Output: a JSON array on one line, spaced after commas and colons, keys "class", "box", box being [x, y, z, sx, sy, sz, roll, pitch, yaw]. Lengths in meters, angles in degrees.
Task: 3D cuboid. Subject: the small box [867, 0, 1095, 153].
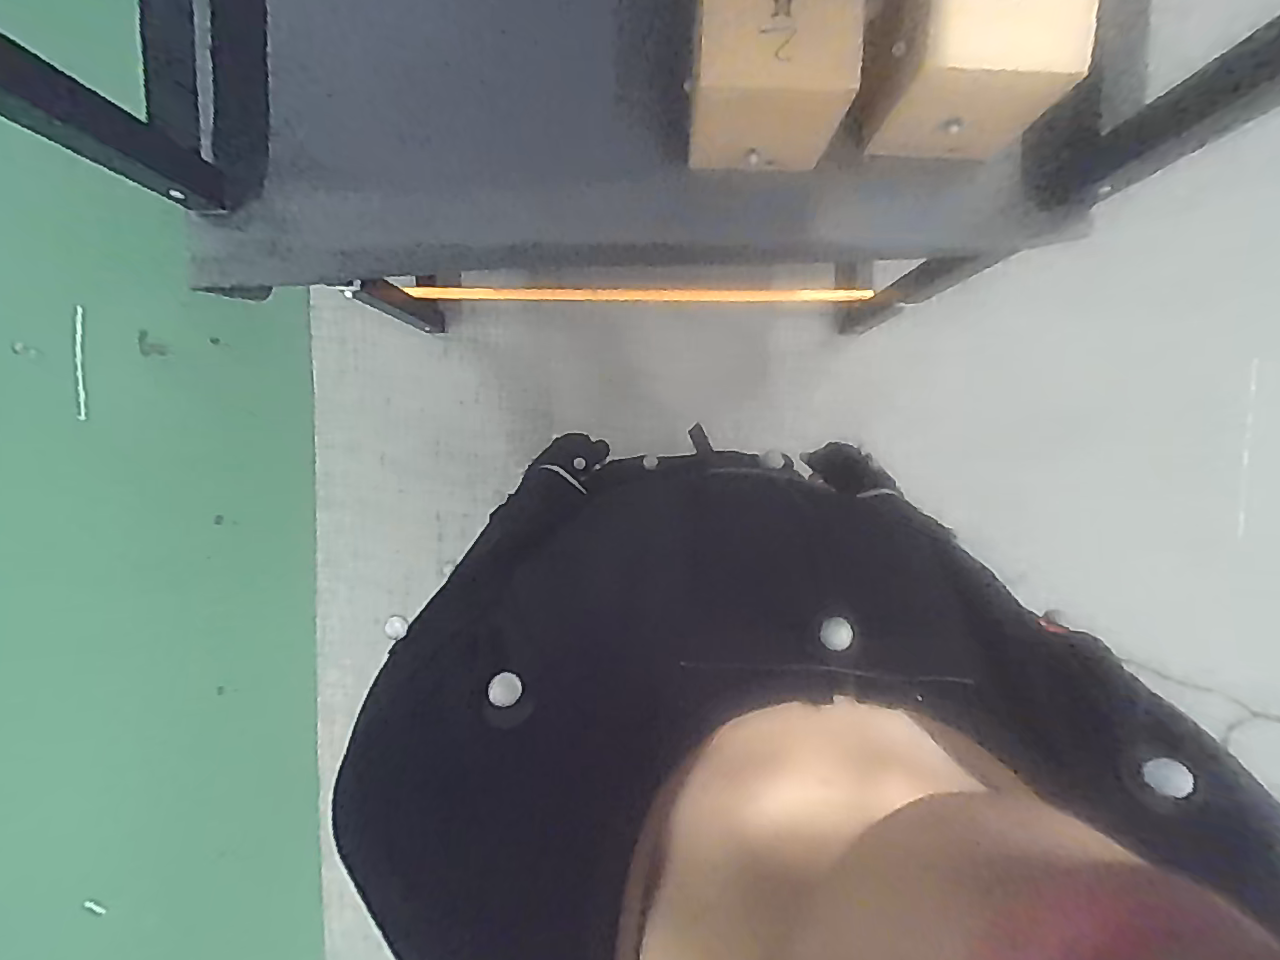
[{"class": "small box", "box": [0.377, -0.508, 0.621, 0.168, 0.176, 0.179, 4, 93, 1]}]
